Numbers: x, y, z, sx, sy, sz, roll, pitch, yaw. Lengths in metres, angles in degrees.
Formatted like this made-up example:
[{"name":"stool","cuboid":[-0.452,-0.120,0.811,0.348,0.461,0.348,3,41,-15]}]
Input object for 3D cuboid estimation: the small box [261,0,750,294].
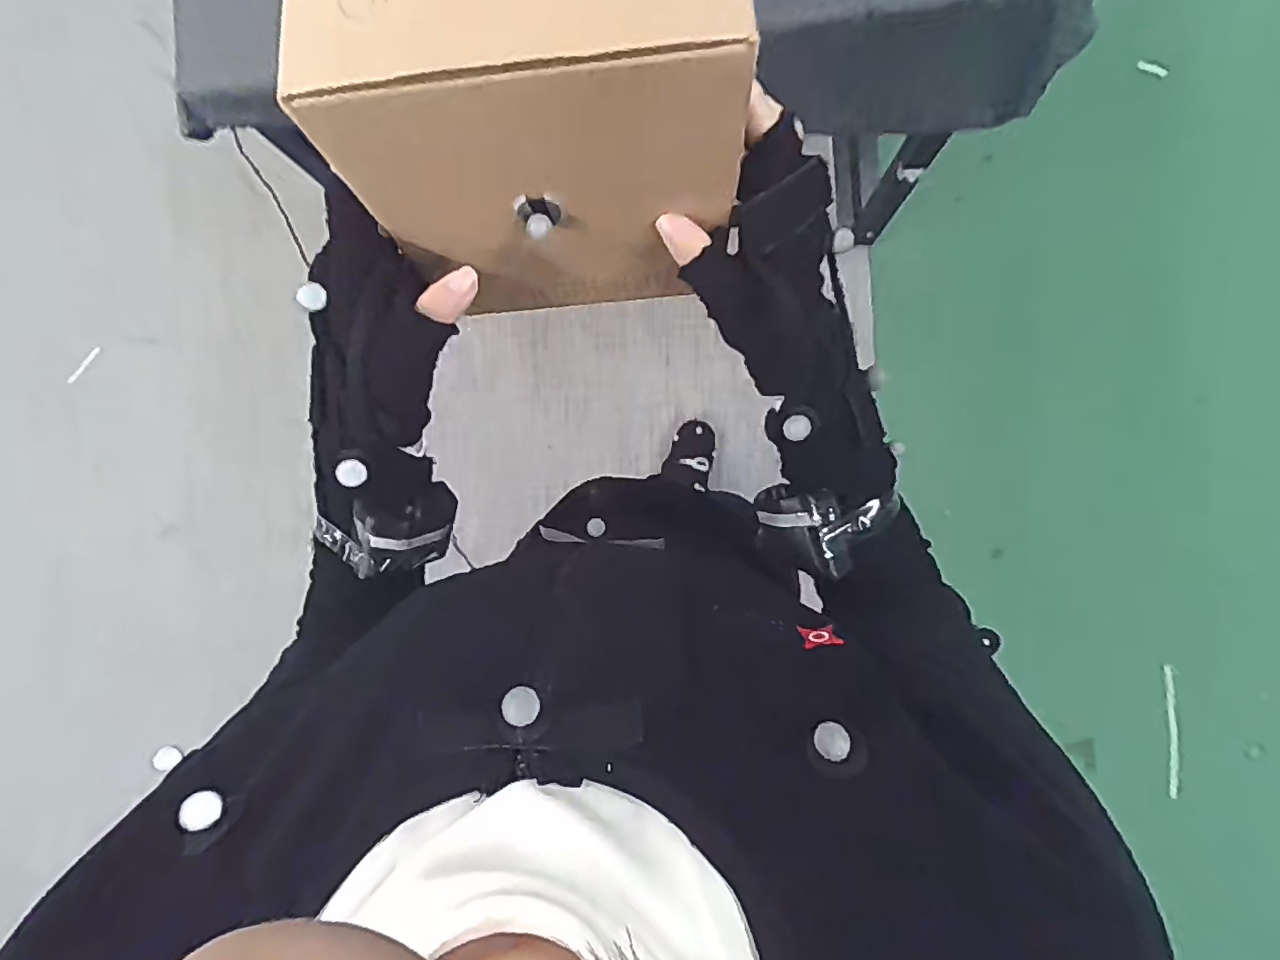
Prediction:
[{"name":"small box","cuboid":[-0.046,-0.215,0.280,0.179,0.176,0.168,-3,79,4]}]
